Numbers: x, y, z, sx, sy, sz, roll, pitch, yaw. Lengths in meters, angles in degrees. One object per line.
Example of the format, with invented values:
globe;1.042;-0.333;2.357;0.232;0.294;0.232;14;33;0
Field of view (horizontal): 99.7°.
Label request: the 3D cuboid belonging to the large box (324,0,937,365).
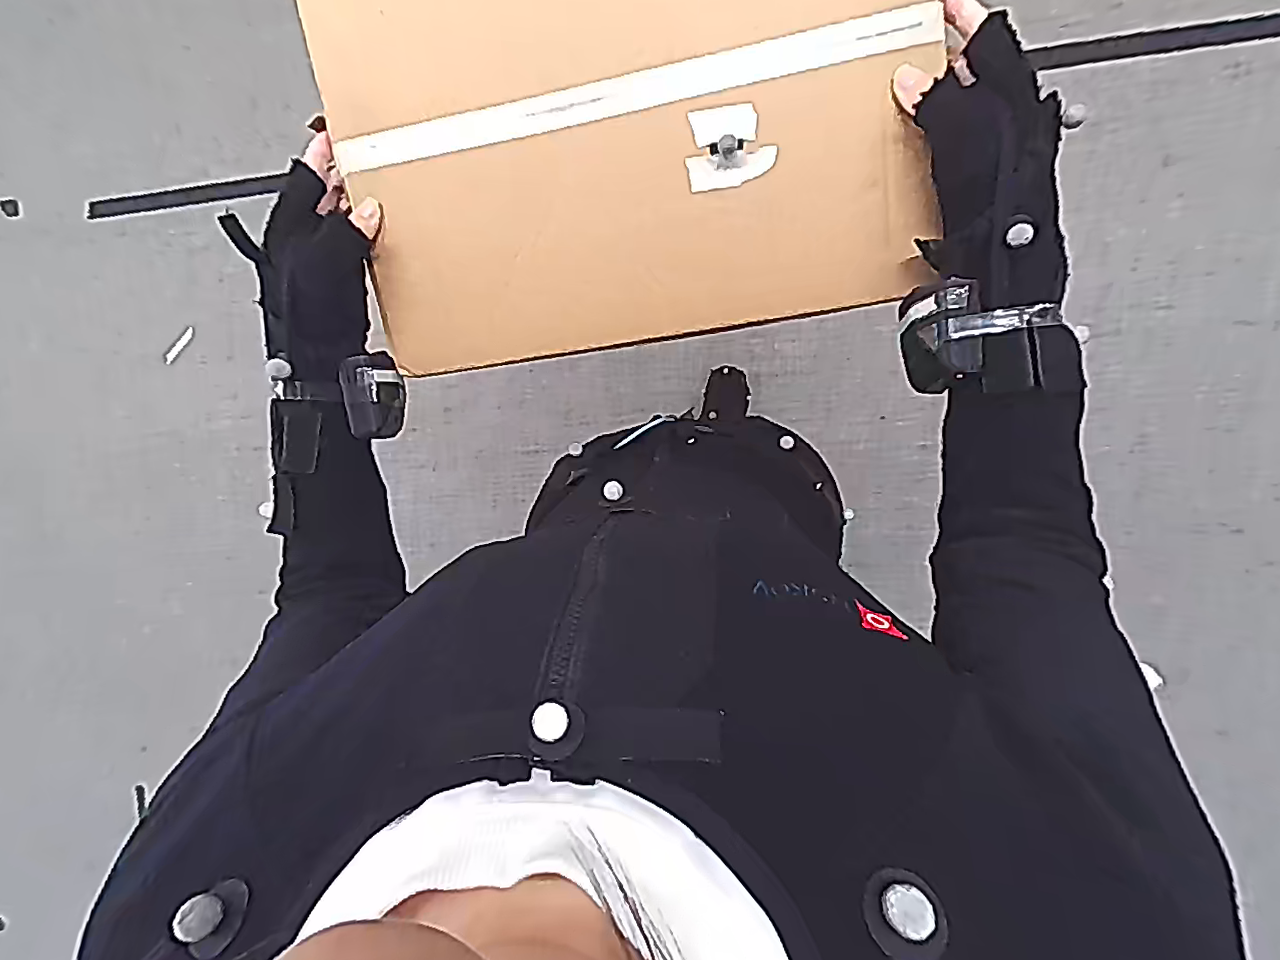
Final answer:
large box;0.003;-0.303;0.515;0.408;0.320;0.320;-7;105;8
